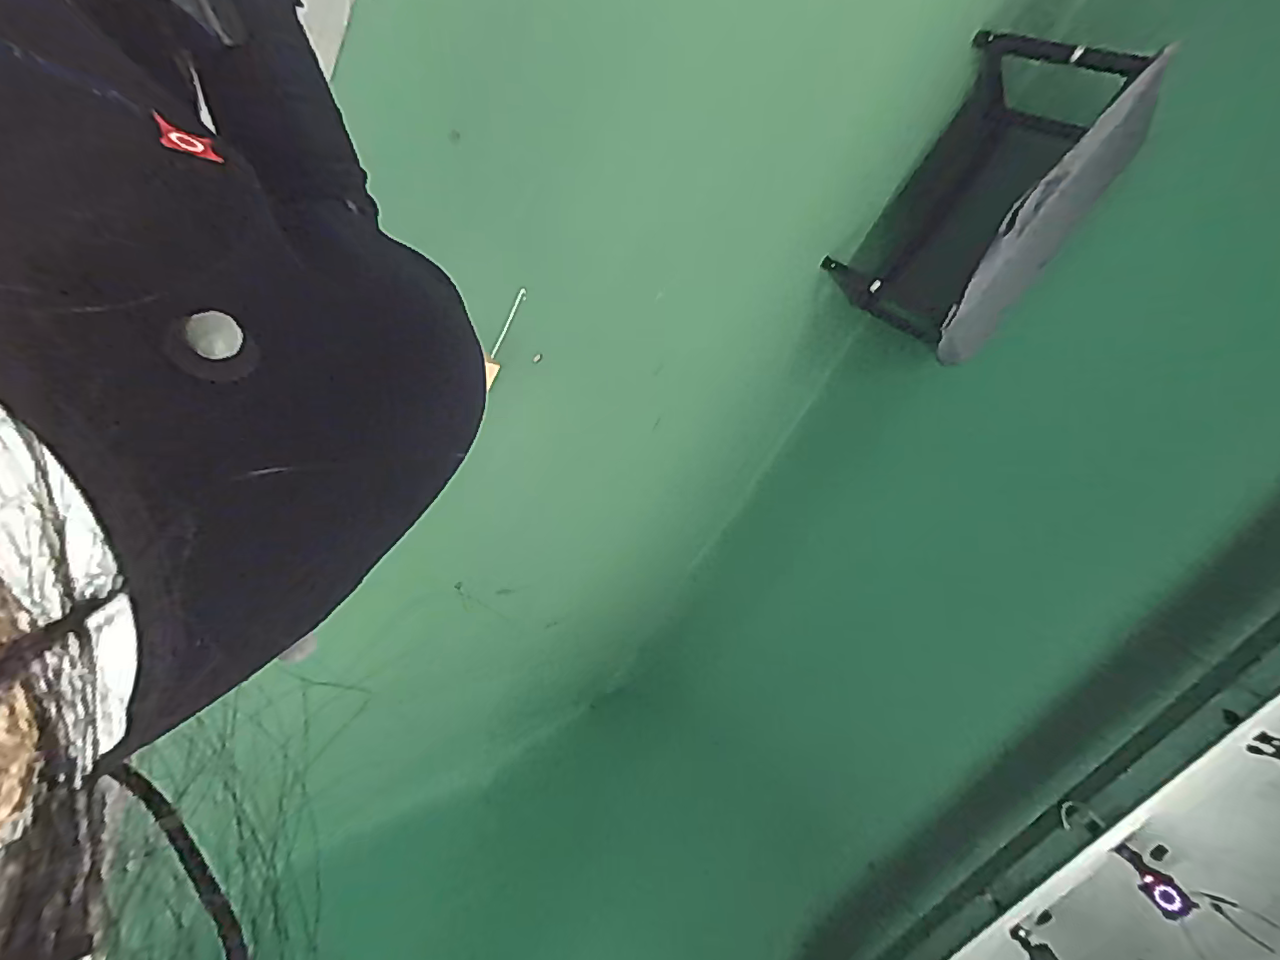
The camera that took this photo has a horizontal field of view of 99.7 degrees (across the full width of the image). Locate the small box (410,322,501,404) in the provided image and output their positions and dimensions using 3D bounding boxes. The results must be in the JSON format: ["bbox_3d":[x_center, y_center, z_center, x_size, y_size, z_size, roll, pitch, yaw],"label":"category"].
[{"bbox_3d":[-0.561,-0.354,1.630,0.179,0.176,0.168,5,122,-55],"label":"small box"}]
